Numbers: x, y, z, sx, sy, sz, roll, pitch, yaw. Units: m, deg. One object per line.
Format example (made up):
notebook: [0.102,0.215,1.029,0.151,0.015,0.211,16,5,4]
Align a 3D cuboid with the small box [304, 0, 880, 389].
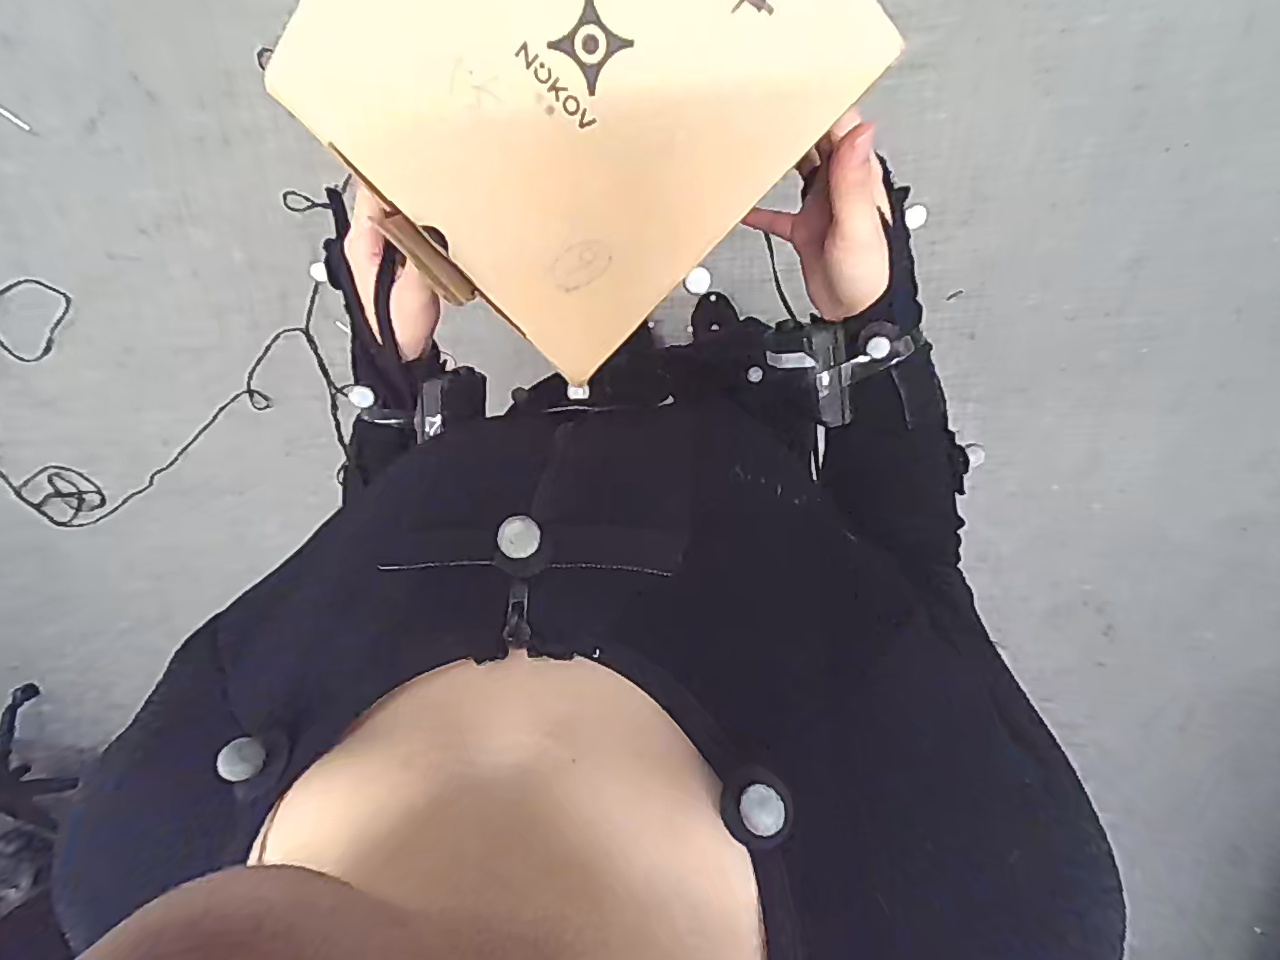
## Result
small box: [-0.018,-0.178,0.288,0.168,0.176,0.179,43,107,-13]
